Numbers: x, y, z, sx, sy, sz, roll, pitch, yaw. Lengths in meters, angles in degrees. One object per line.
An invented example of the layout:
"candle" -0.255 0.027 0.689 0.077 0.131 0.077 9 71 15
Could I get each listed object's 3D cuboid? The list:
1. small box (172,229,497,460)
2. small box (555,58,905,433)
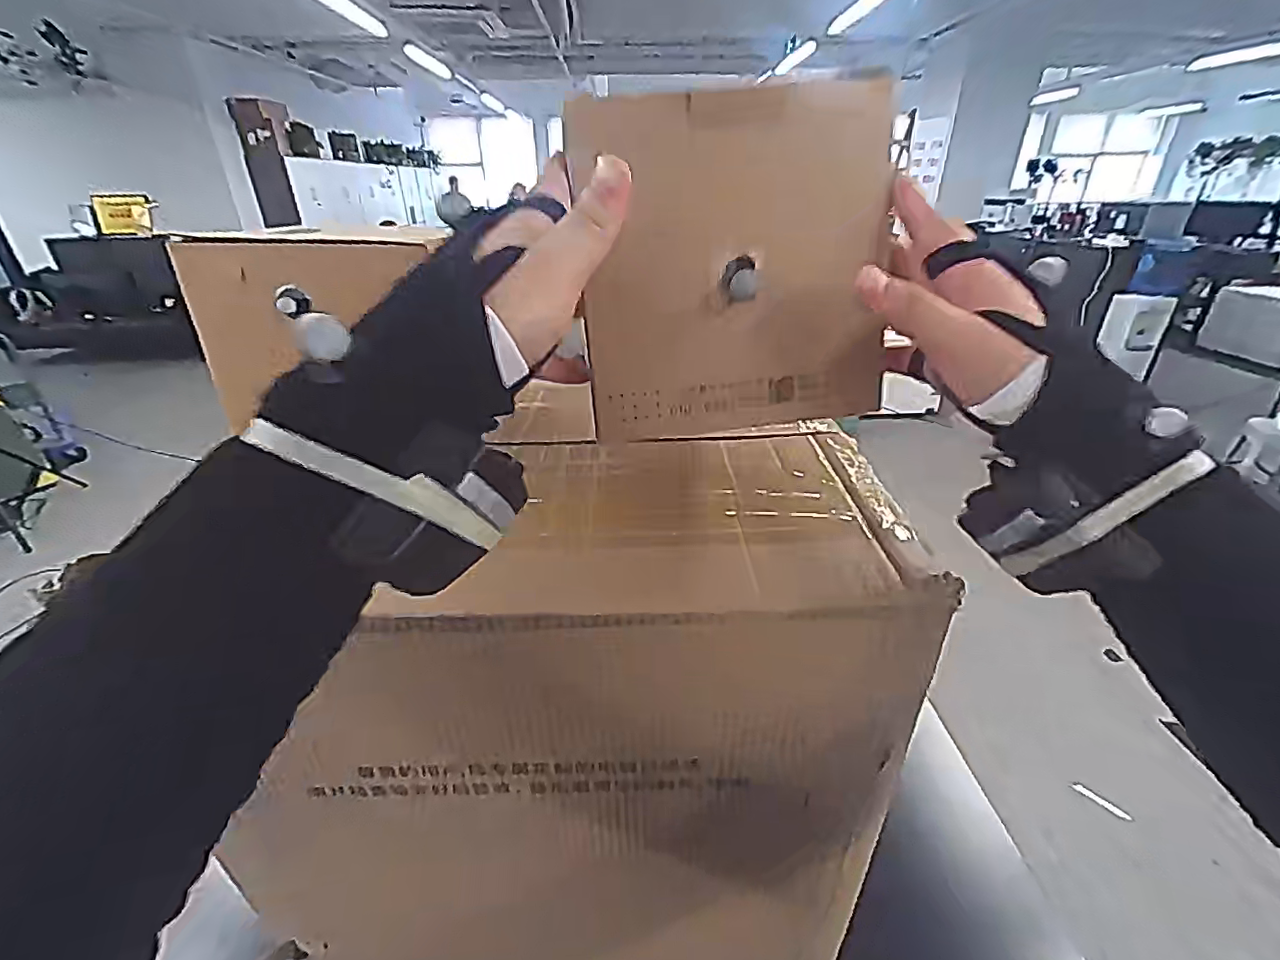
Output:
"small box" -0.235 -0.124 0.473 0.179 0.176 0.168 0 27 -2
"small box" 0.043 -0.130 0.346 0.168 0.176 0.179 -7 19 -4
